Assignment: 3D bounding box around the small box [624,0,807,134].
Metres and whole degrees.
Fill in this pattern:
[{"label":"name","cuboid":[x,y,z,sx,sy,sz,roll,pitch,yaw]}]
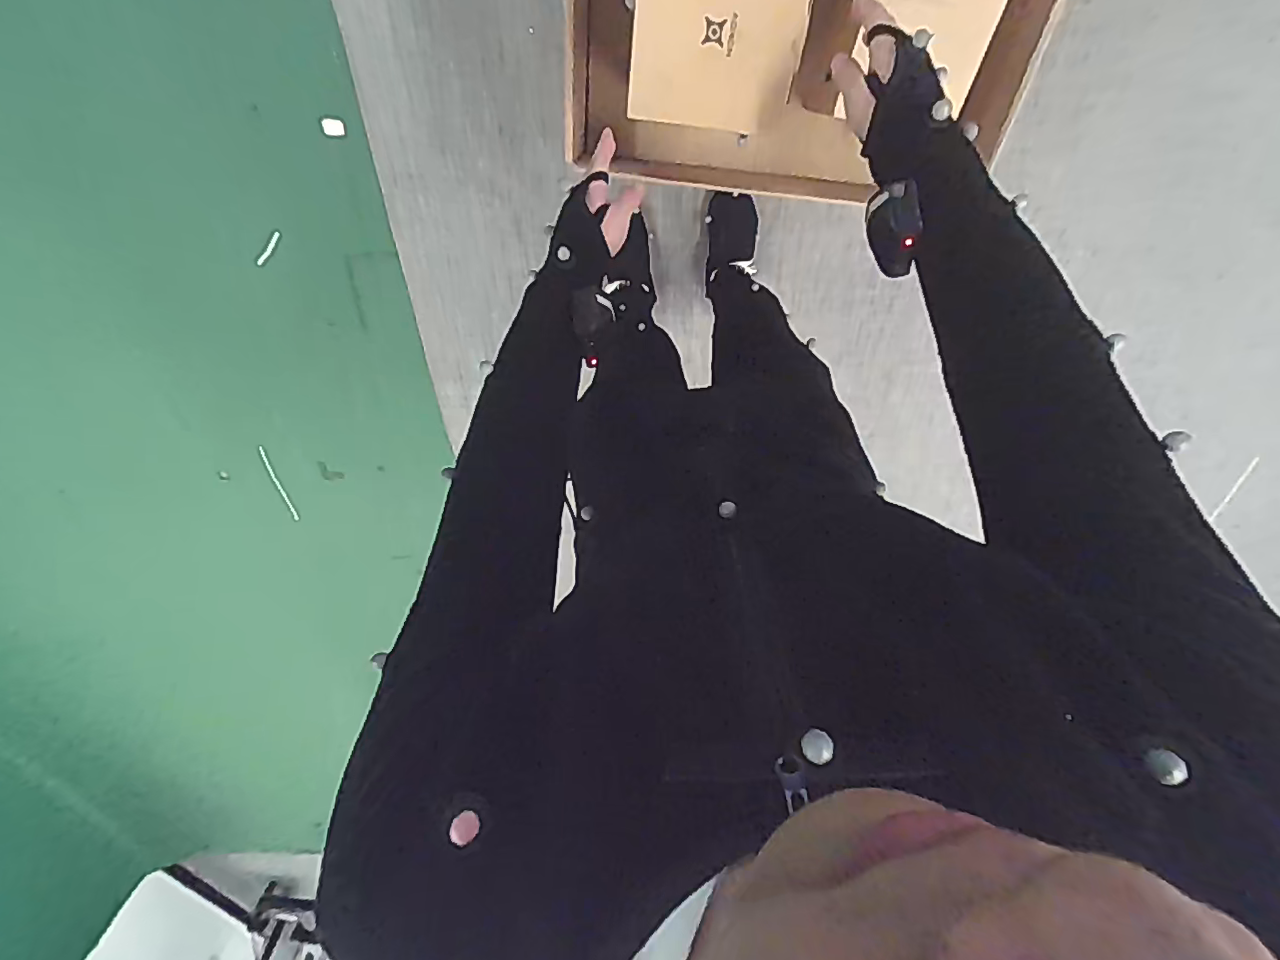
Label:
[{"label":"small box","cuboid":[0.081,-0.507,0.616,0.179,0.176,0.168,6,127,-1]}]
